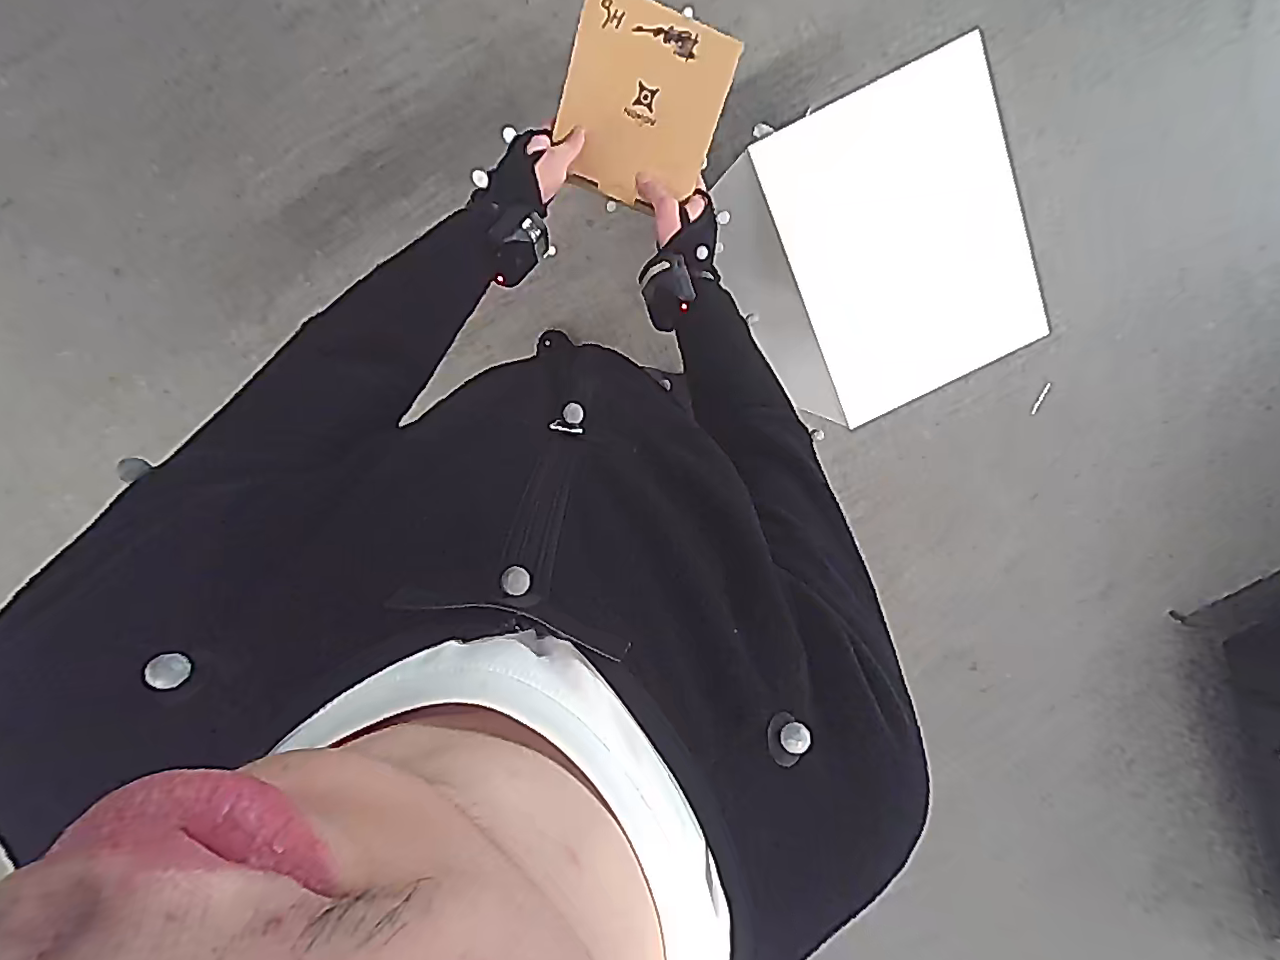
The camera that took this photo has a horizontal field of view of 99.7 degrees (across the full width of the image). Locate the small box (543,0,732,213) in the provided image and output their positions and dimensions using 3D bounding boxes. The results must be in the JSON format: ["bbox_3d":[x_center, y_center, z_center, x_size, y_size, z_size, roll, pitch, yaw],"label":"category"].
[{"bbox_3d":[-0.010,-0.436,0.649,0.168,0.176,0.179,14,112,-11],"label":"small box"}]
